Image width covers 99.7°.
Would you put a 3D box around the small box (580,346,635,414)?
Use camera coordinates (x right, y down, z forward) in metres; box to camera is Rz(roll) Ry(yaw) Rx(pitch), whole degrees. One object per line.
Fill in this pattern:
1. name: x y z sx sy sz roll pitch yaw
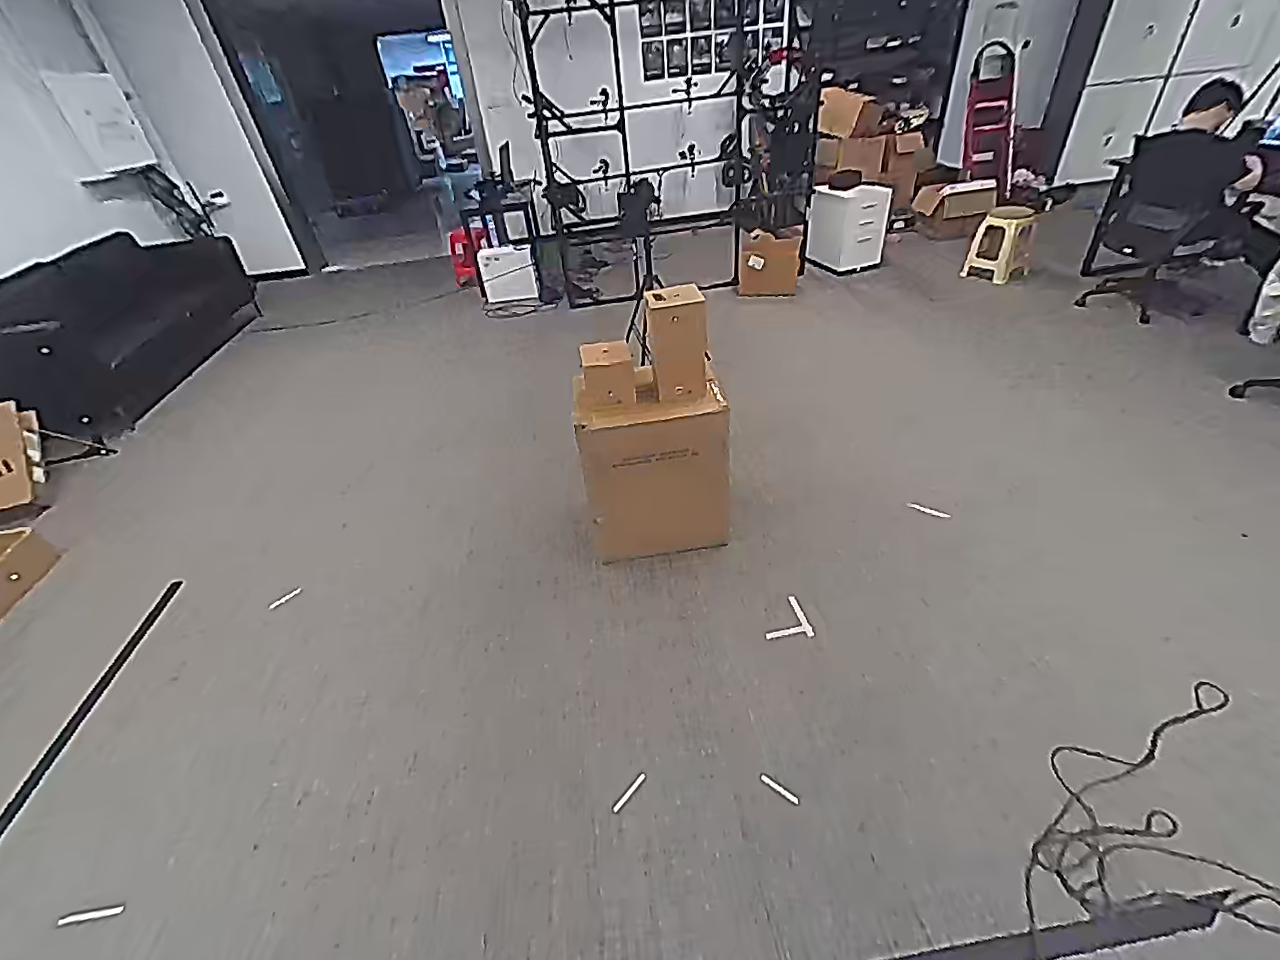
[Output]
1. small box: -0.112 -0.348 1.879 0.168 0.176 0.179 -9 37 -4

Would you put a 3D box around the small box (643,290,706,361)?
1. small box: 0.113 -0.506 1.780 0.179 0.176 0.168 -10 37 -2

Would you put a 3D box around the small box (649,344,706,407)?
1. small box: 0.130 -0.376 1.880 0.168 0.176 0.179 -11 38 -1
